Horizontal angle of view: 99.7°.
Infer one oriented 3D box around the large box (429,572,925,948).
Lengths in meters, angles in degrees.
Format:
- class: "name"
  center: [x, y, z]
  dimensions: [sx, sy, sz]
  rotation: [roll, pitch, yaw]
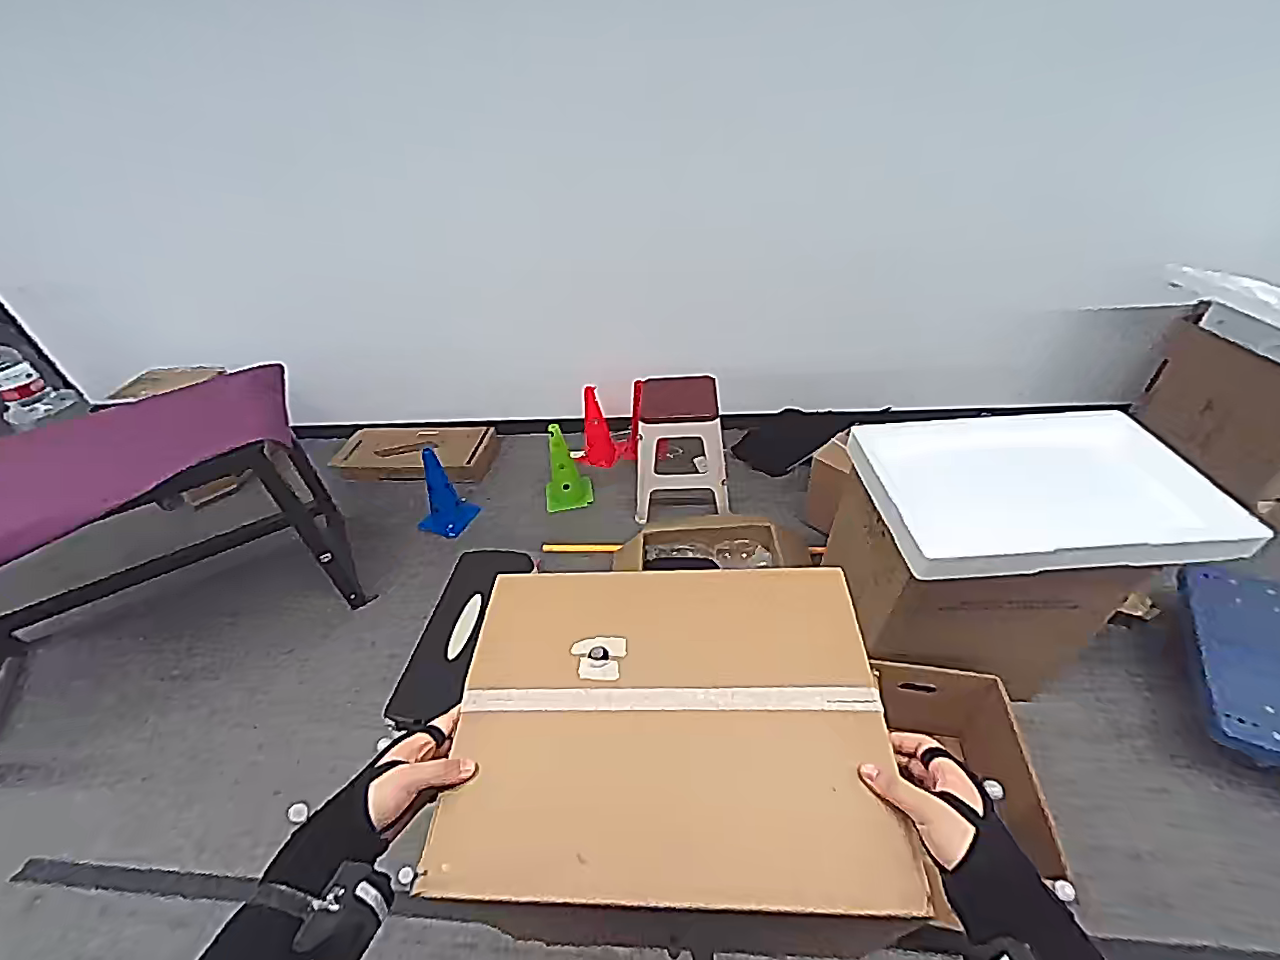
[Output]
- class: "large box"
  center: [0.044, 0.331, 0.634]
  dimensions: [0.408, 0.320, 0.320]
  rotation: [-4, 43, 6]
